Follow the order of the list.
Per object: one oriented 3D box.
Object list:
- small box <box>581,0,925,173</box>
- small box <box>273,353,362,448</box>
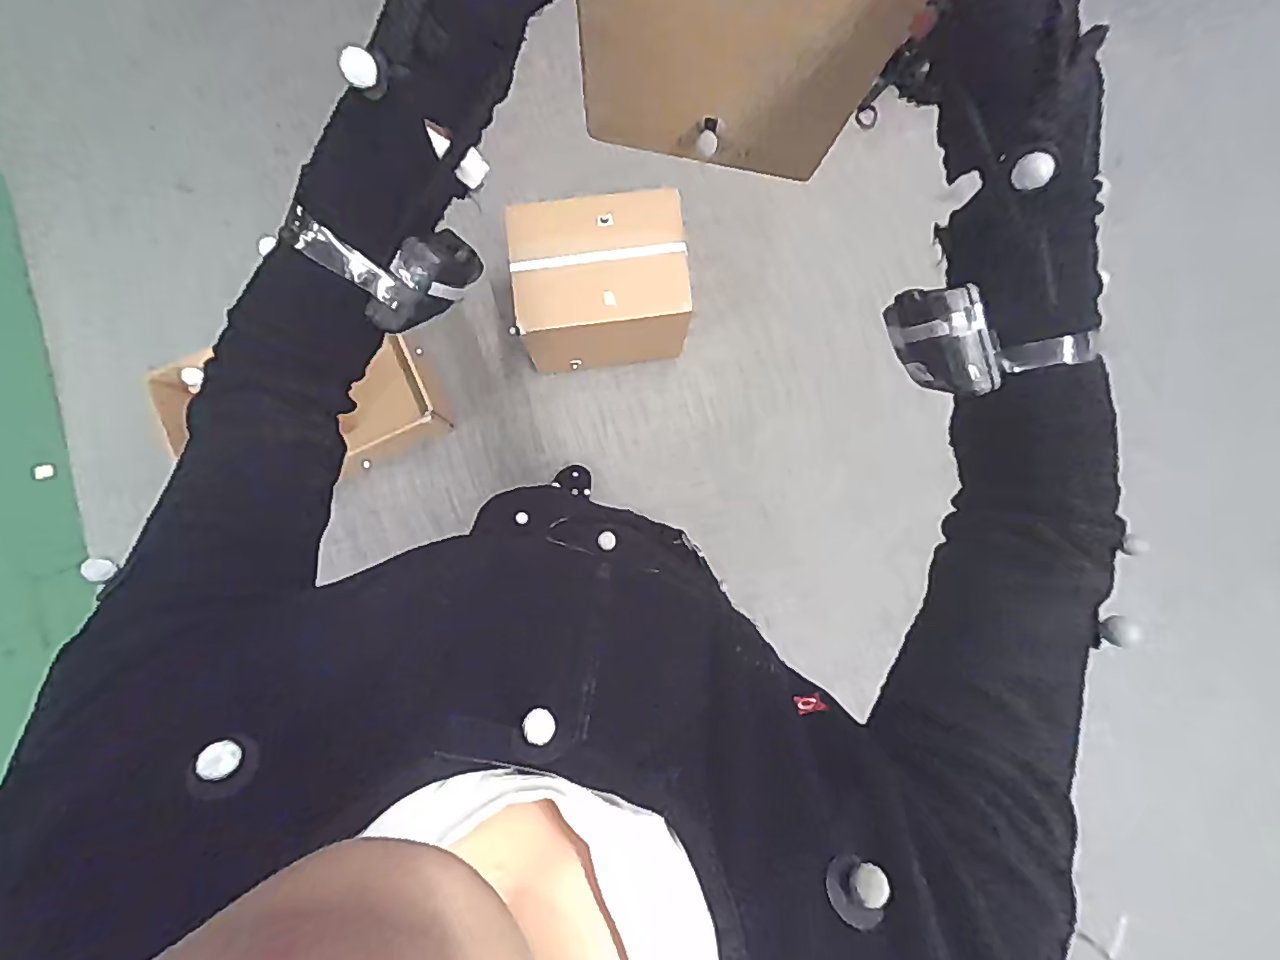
[{"bbox_3d":[0.065,-0.326,0.338,0.179,0.176,0.168,10,89,-3],"label":"small box"},{"bbox_3d":[-0.856,-0.195,1.385,0.179,0.176,0.168,-24,85,-5],"label":"small box"}]
